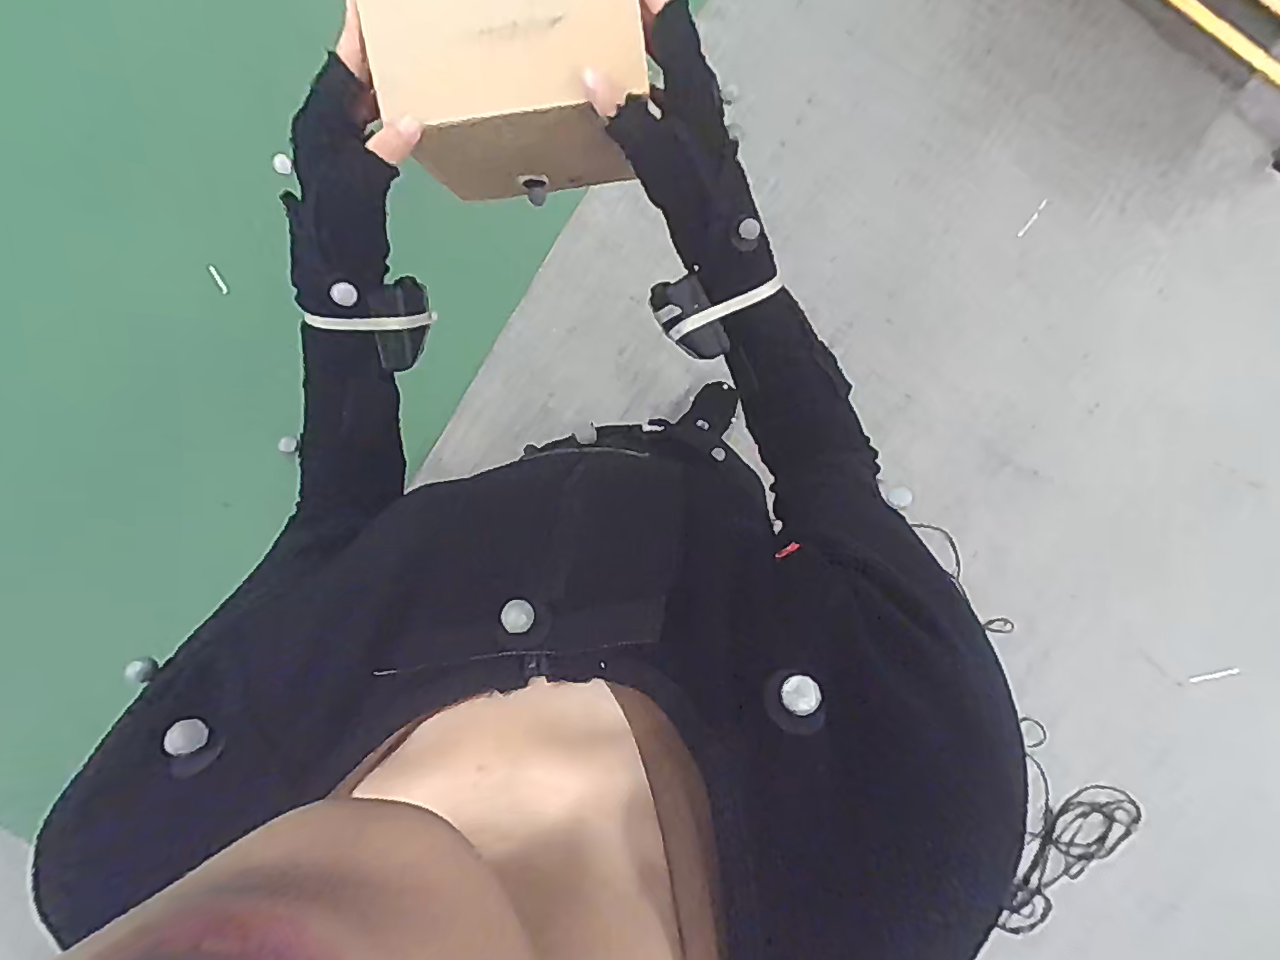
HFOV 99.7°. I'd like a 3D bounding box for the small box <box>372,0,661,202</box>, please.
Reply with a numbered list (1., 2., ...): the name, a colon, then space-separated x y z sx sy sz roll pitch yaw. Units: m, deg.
1. small box: -0.080 -0.325 0.388 0.168 0.176 0.179 -7 104 1
